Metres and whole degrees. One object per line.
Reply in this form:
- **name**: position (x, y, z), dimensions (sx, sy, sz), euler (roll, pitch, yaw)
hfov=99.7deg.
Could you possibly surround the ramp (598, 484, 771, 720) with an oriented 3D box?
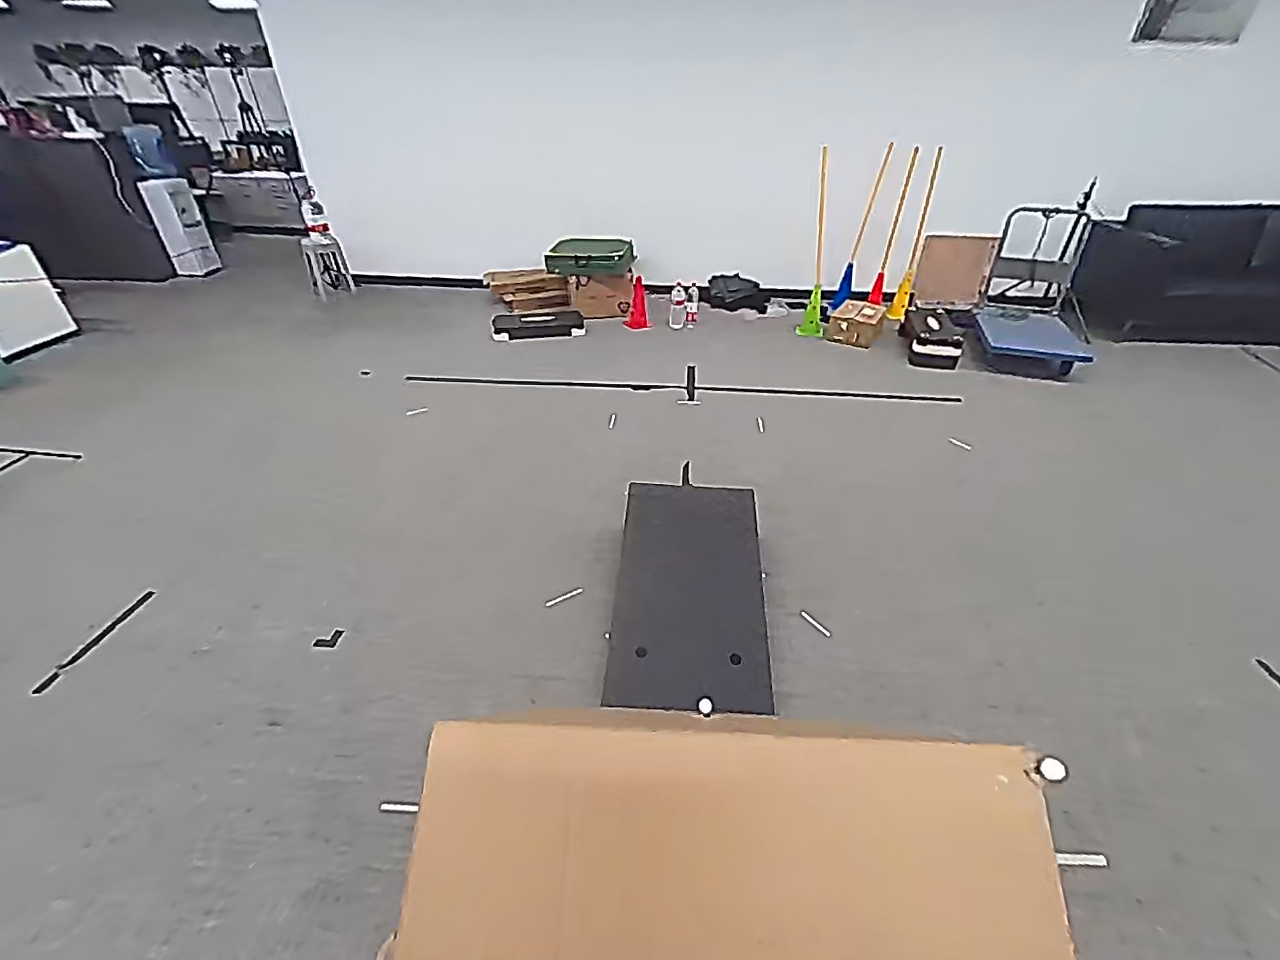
- **ramp**: position (0.153, 0.391, 1.787), dimensions (0.509, 0.206, 0.991), euler (3, 36, 1)

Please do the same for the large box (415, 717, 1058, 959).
- **large box**: position (0.057, 0.378, 0.463), dimensions (0.408, 0.320, 0.320), euler (1, 70, 1)
